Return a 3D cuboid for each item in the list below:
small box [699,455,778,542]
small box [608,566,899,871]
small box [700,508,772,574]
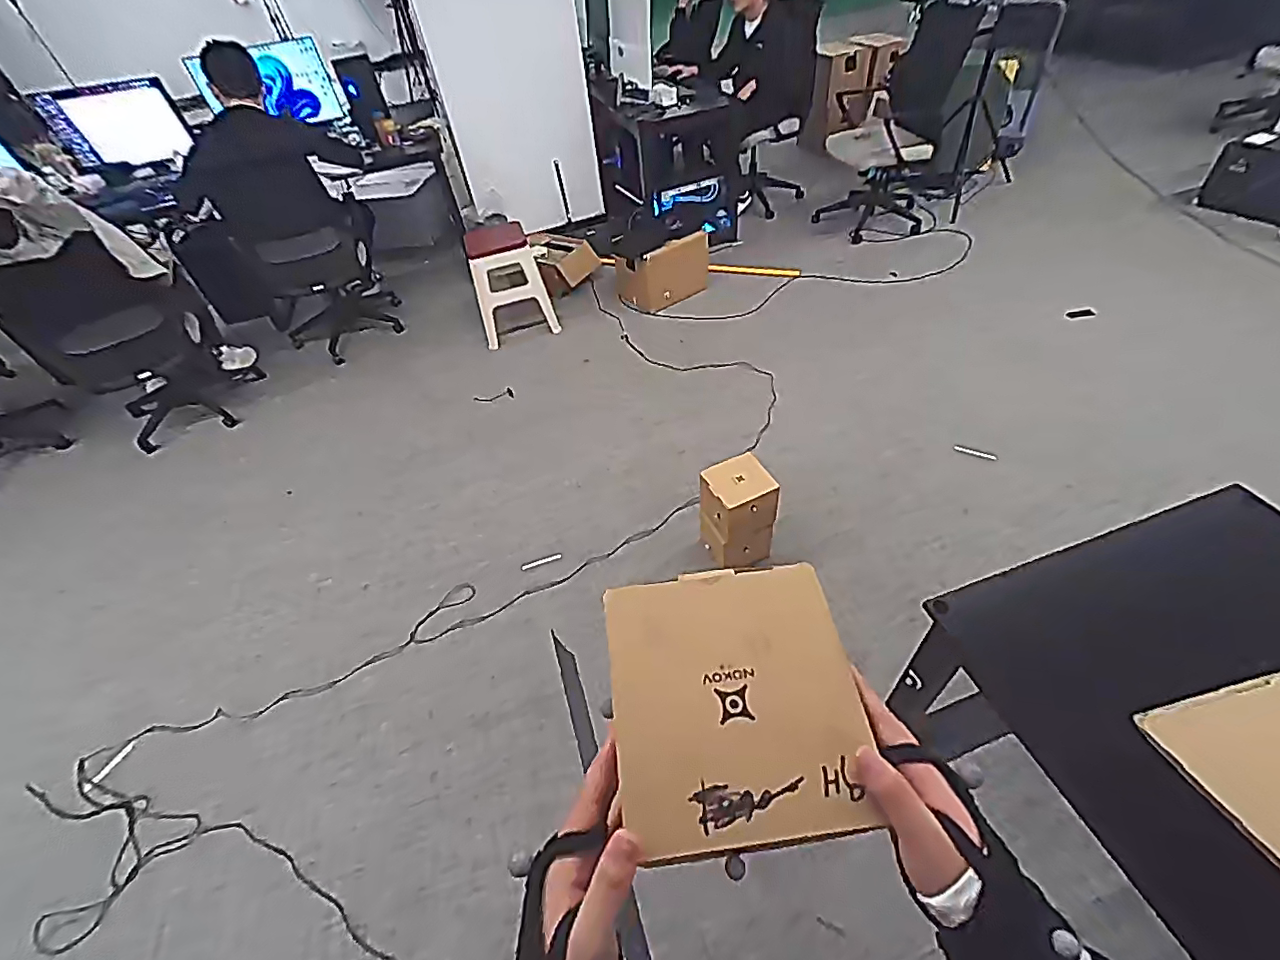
[{"bbox_3d":[0.293,0.060,1.632,0.179,0.176,0.168,-22,49,-14],"label":"small box"},{"bbox_3d":[0.066,0.191,0.429,0.168,0.176,0.179,-7,53,-2],"label":"small box"},{"bbox_3d":[0.305,0.173,1.748,0.179,0.176,0.168,-21,48,-10],"label":"small box"}]
